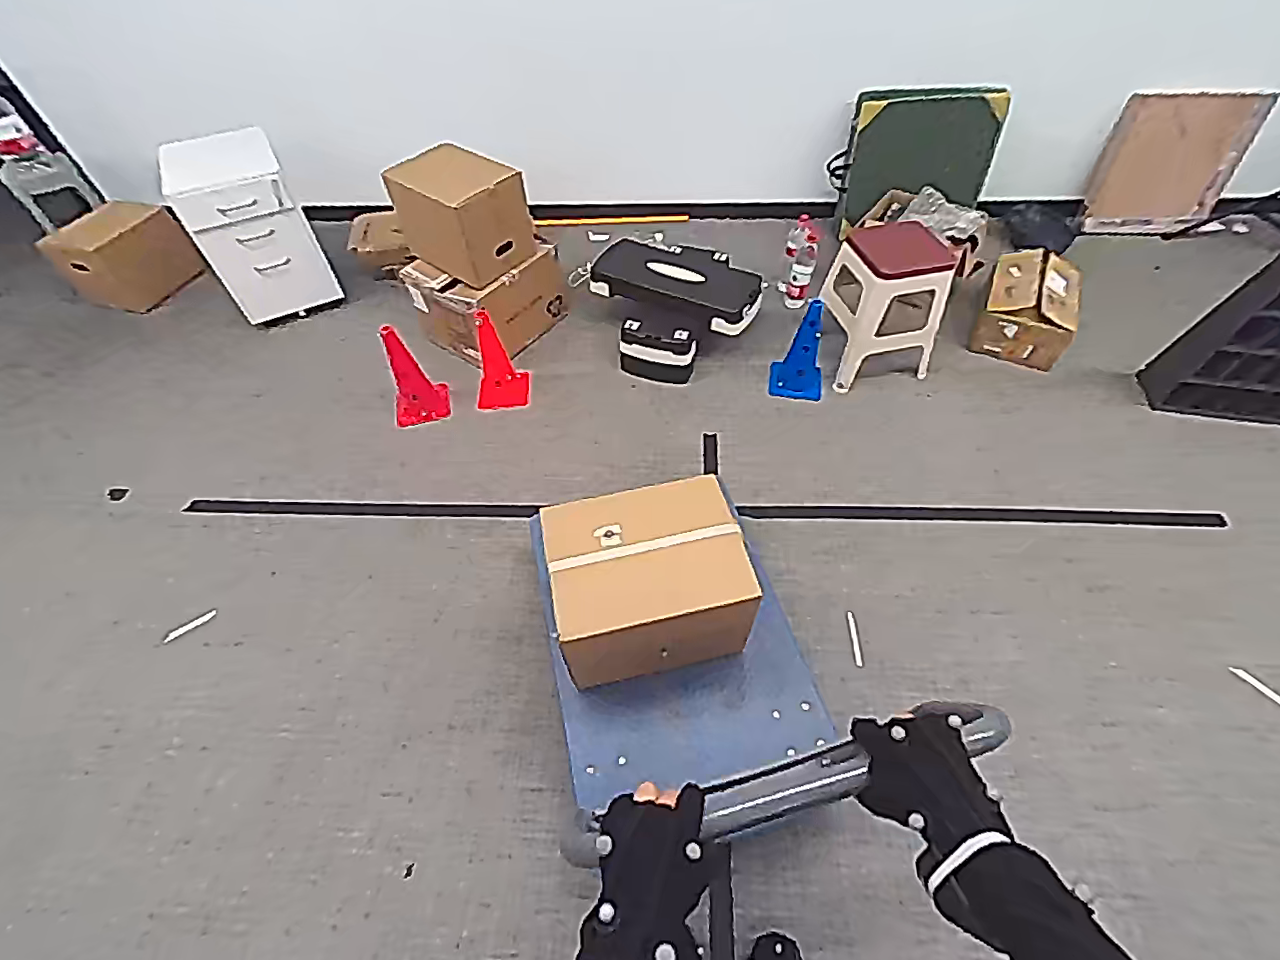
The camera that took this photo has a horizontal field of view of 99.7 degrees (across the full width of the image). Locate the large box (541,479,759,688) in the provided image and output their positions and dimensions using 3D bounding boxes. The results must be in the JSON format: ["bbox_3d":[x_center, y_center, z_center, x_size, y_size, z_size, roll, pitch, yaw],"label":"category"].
[{"bbox_3d":[0.014,0.243,1.243,0.408,0.320,0.320,-12,53,-6],"label":"large box"}]
